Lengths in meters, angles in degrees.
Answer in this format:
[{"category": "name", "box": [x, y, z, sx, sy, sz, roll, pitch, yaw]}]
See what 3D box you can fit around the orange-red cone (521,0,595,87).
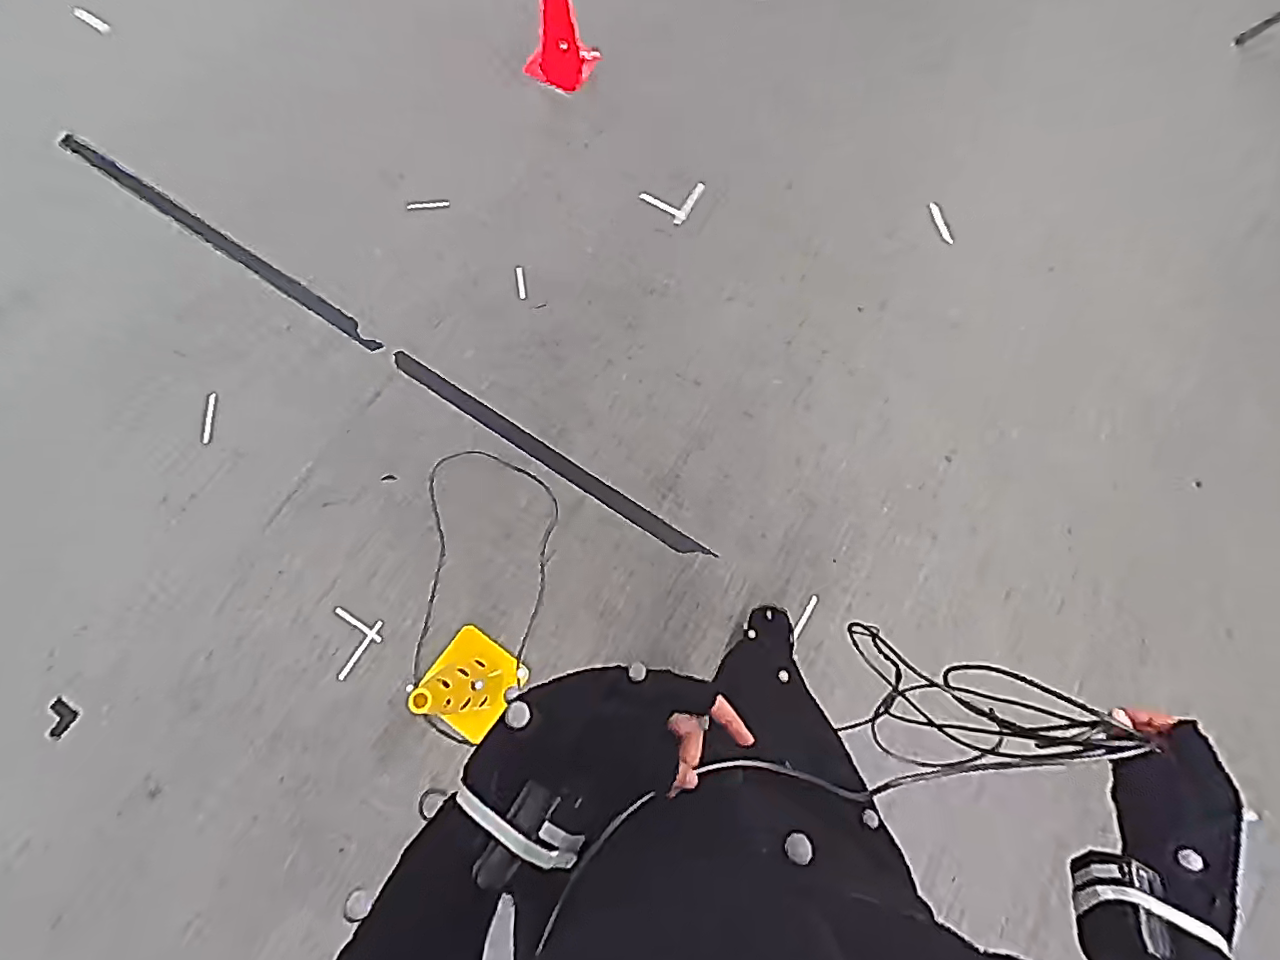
[{"category": "orange-red cone", "box": [-0.268, -1.442, 1.625, 0.199, 0.360, 0.198, 27, 75, 7]}]
